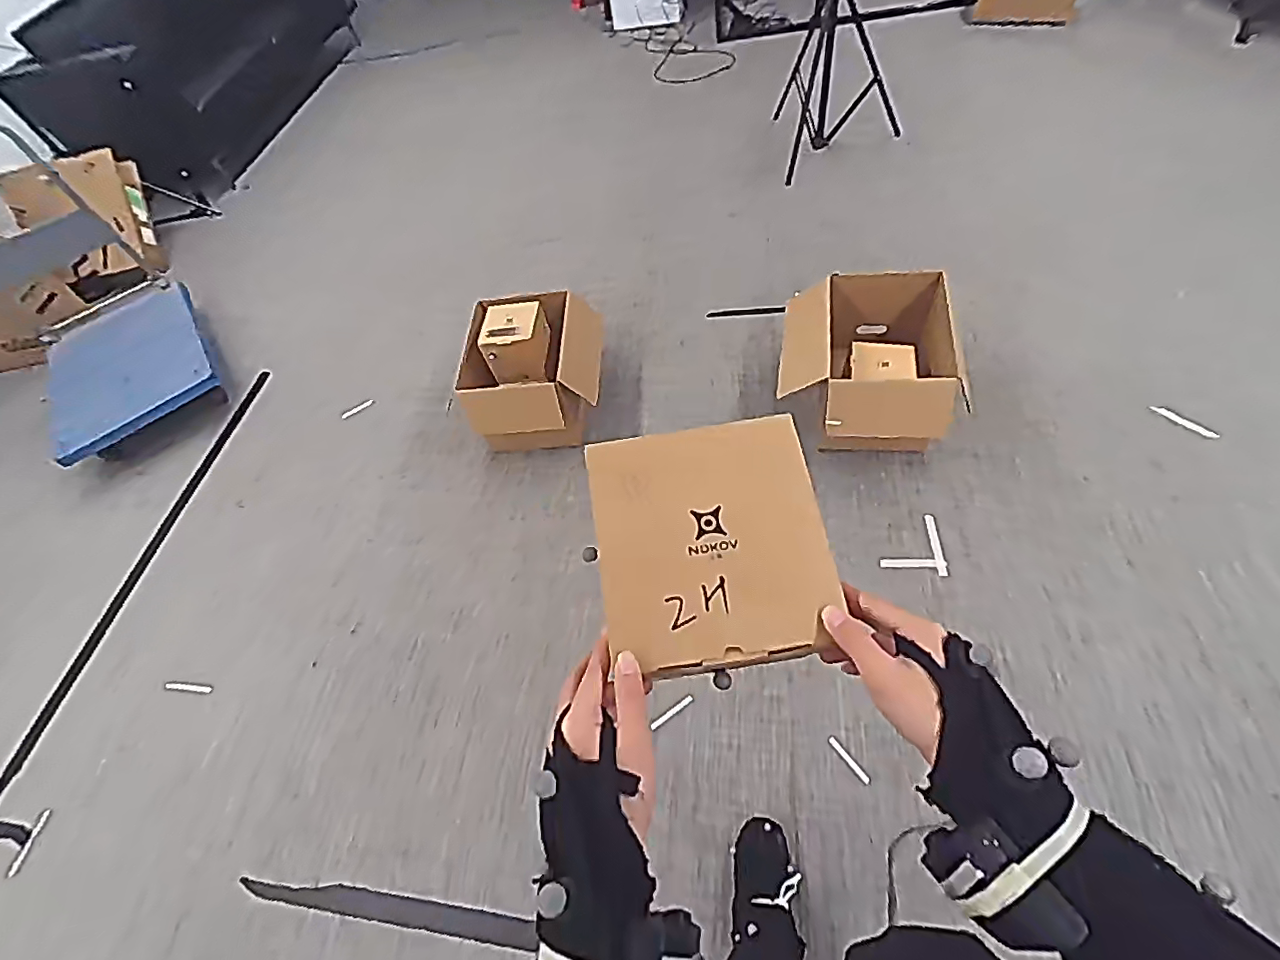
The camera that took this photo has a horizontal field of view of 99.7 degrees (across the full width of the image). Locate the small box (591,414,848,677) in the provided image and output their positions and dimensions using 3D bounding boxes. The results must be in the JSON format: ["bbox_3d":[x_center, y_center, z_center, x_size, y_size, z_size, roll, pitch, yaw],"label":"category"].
[{"bbox_3d":[0.054,0.067,0.471,0.168,0.176,0.179,-9,68,0],"label":"small box"}]
